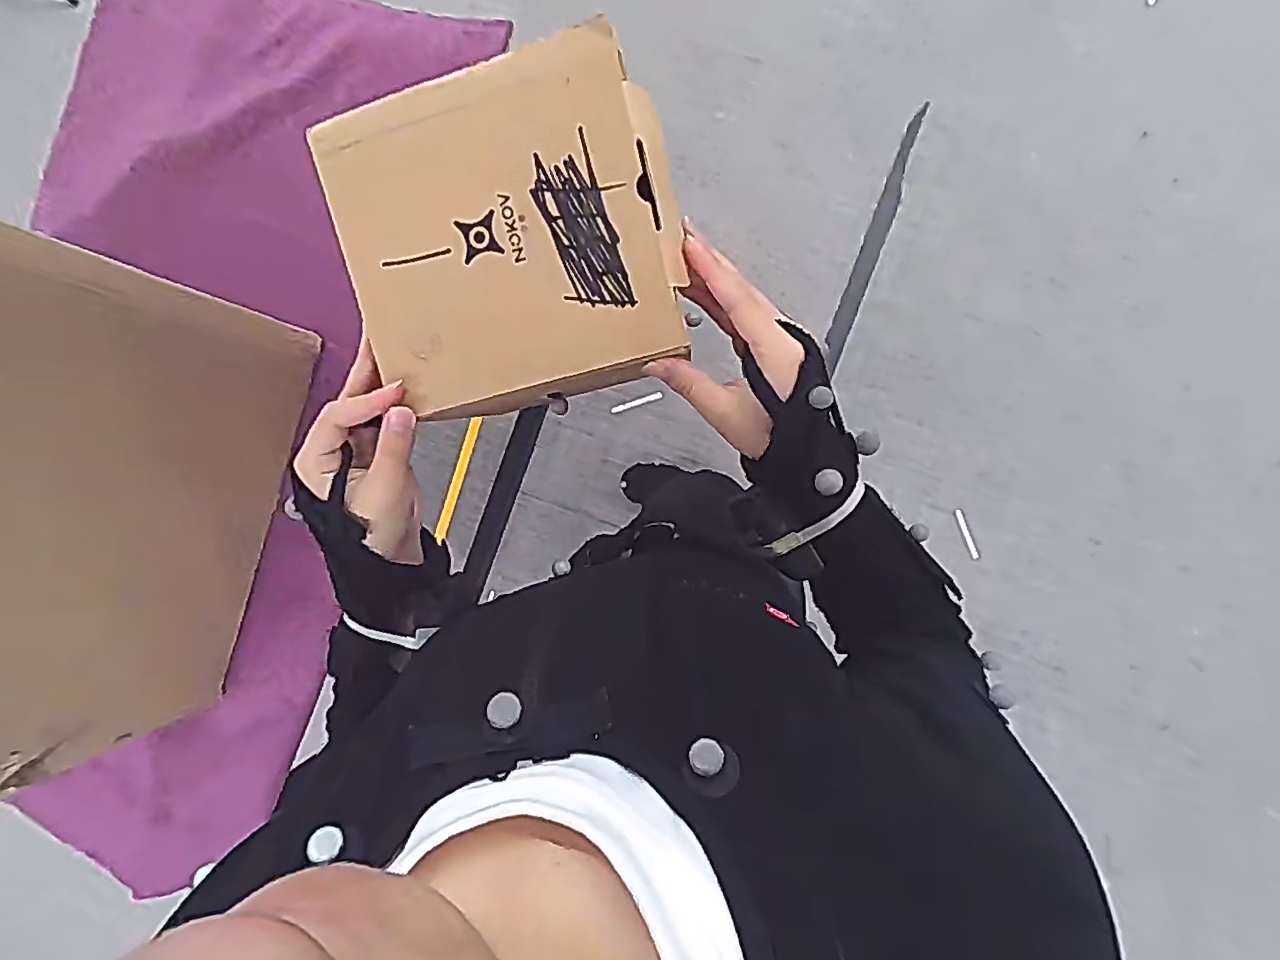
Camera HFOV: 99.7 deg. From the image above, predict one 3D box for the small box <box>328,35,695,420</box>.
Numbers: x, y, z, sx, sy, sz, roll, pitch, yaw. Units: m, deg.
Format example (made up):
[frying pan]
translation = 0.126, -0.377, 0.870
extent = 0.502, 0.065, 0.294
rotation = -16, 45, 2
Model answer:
[small box]
translation = -0.063, -0.144, 0.375
extent = 0.179, 0.176, 0.168
rotation = -13, 97, 9
